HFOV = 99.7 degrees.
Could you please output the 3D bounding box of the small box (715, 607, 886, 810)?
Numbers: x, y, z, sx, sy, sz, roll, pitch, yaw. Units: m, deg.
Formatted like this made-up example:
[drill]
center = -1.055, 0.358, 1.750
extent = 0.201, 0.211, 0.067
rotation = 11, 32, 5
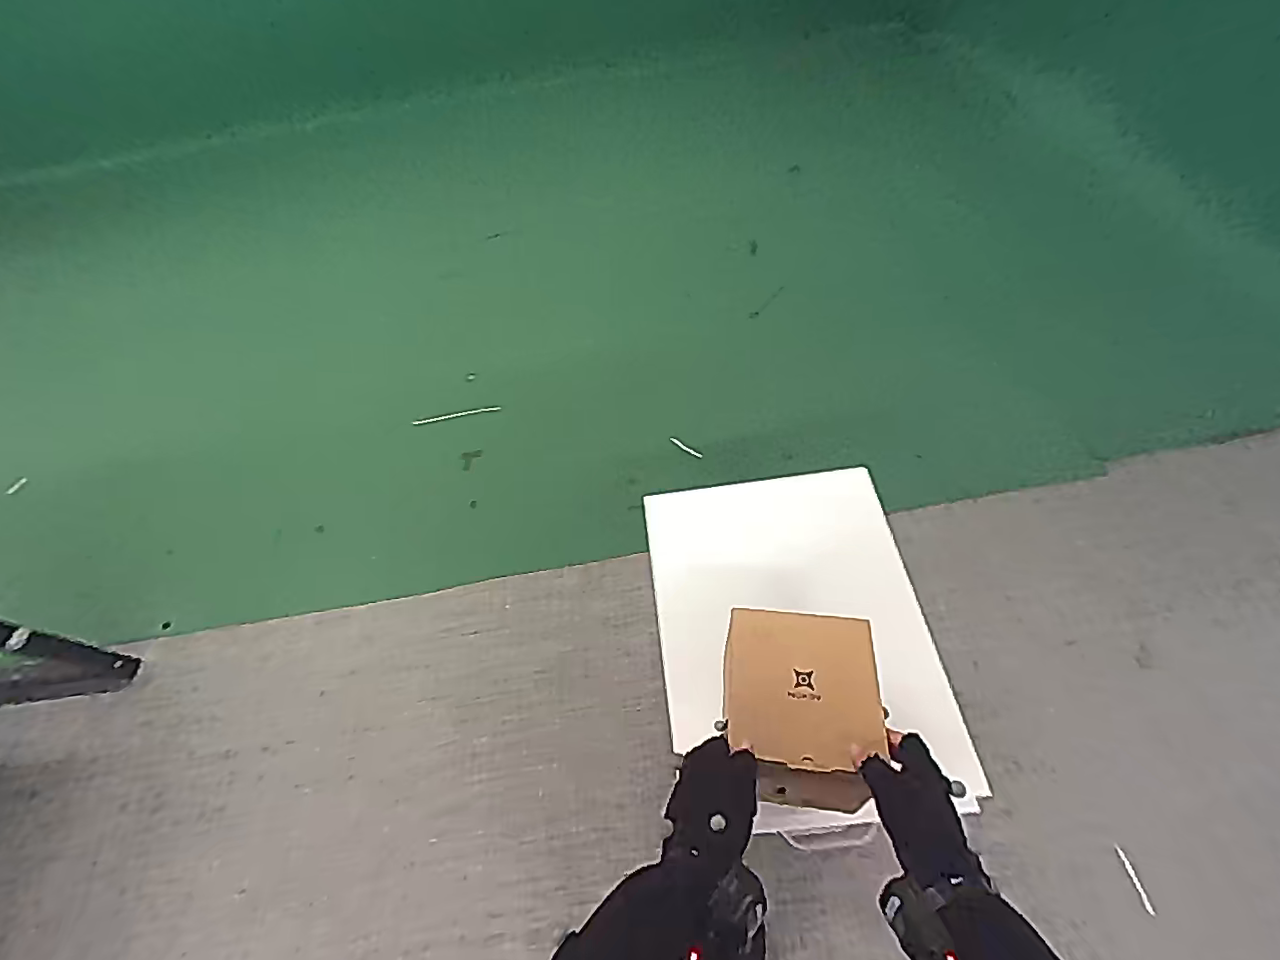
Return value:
[small box]
center = 0.180, 0.279, 0.661
extent = 0.168, 0.176, 0.179
rotation = 3, 50, 8
